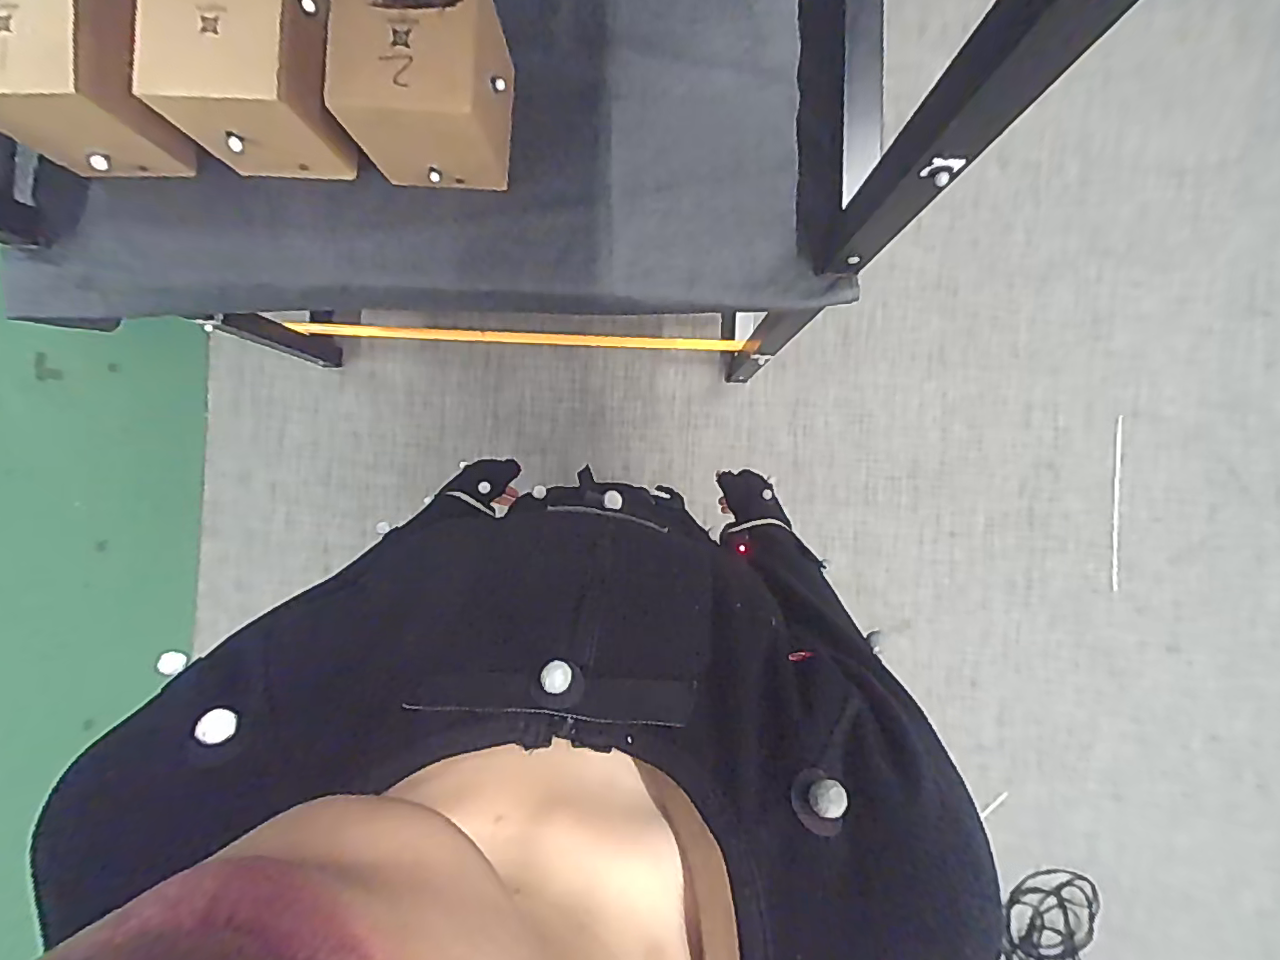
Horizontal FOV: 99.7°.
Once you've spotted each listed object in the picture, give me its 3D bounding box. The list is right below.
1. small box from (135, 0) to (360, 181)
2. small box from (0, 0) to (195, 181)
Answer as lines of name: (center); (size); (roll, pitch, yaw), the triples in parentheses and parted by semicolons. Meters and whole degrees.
small box: (-0.478, -0.508, 0.683); (0.168, 0.176, 0.179); (2, 89, 0)
small box: (-0.705, -0.511, 0.682); (0.168, 0.176, 0.179); (0, 90, 0)
